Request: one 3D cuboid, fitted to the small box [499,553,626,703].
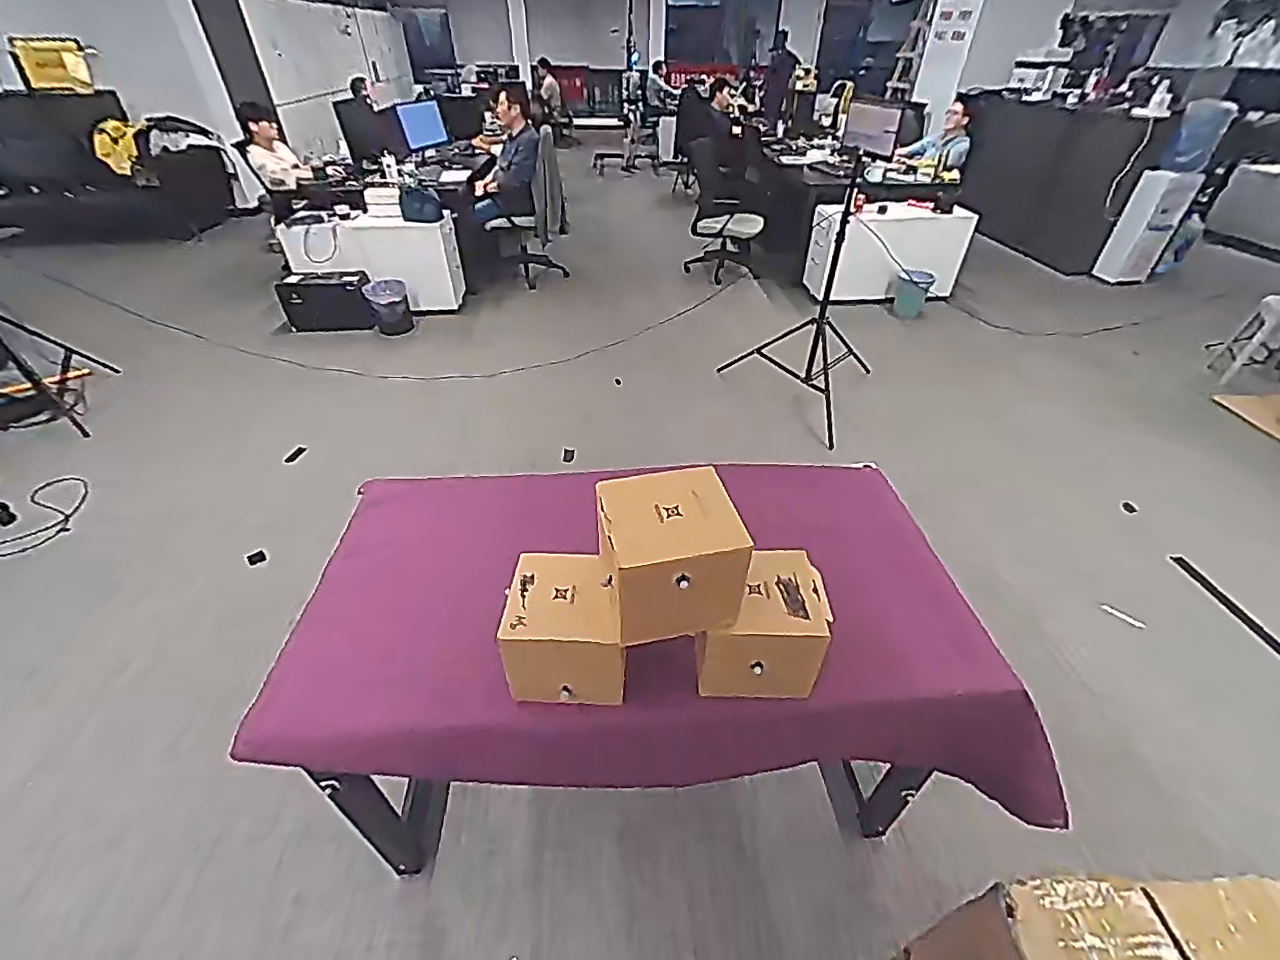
[{"bbox_3d":[-0.110,0.237,0.864,0.179,0.176,0.168,2,38,1],"label":"small box"}]

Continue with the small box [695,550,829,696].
[{"bbox_3d":[0.182,0.231,0.872,0.179,0.176,0.168,0,38,1],"label":"small box"}]

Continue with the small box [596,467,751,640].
[{"bbox_3d":[0.039,0.105,0.769,0.179,0.176,0.168,-8,41,-11],"label":"small box"}]
